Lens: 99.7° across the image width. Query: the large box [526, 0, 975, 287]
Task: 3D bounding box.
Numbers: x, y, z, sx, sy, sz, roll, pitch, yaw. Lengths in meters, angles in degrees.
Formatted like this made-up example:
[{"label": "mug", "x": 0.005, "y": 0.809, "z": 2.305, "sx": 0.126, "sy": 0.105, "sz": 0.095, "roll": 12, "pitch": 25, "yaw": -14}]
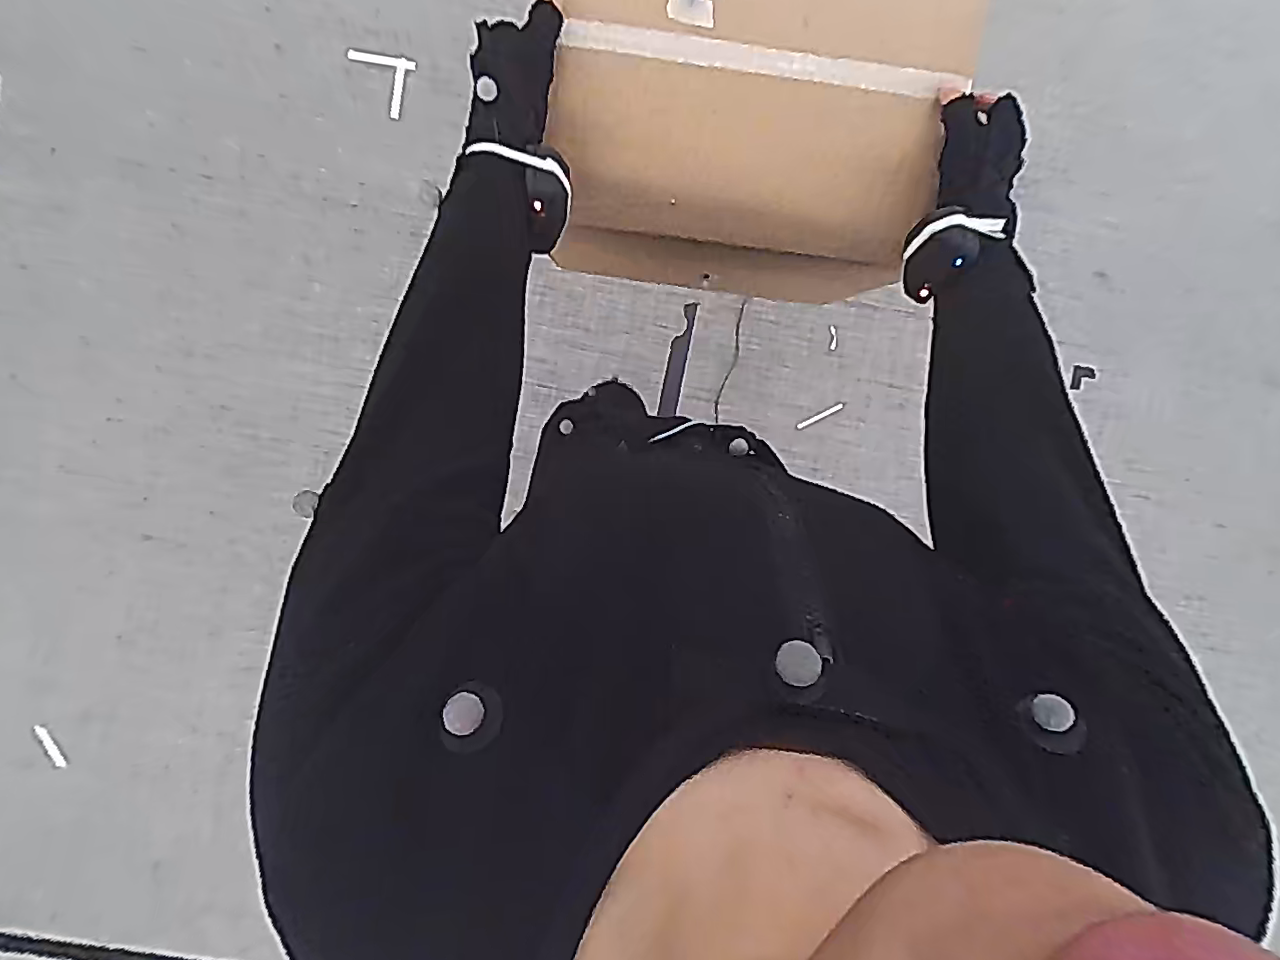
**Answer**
[{"label": "large box", "x": 0.101, "y": -0.426, "z": 0.646, "sx": 0.408, "sy": 0.320, "sz": 0.320, "roll": 7, "pitch": 102, "yaw": -2}]
